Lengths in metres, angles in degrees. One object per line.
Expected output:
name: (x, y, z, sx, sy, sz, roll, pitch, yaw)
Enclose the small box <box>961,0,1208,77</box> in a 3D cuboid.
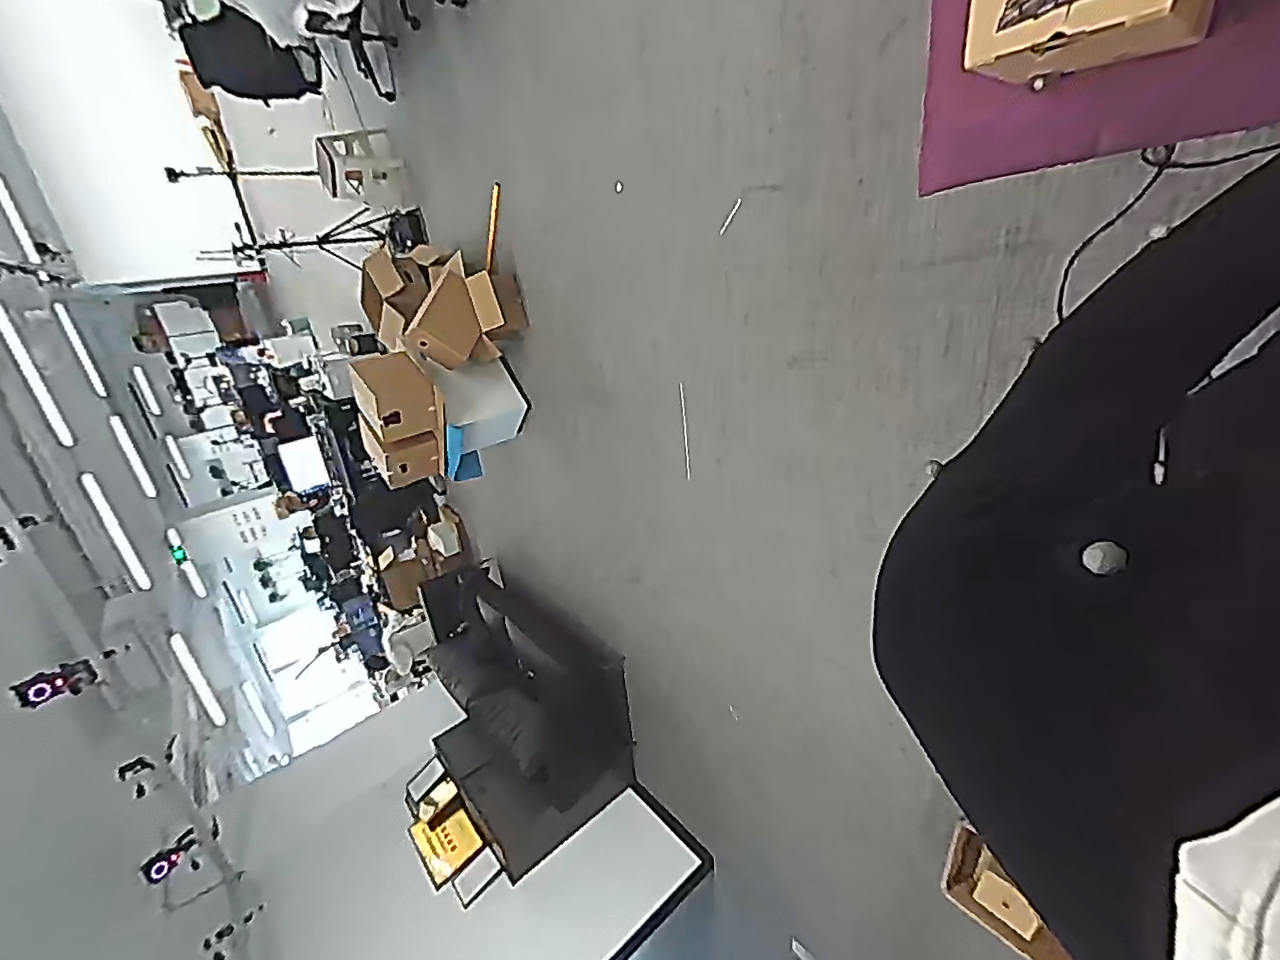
small box: (0.445, -0.516, 0.524, 0.168, 0.176, 0.179, 21, 124, 46)
